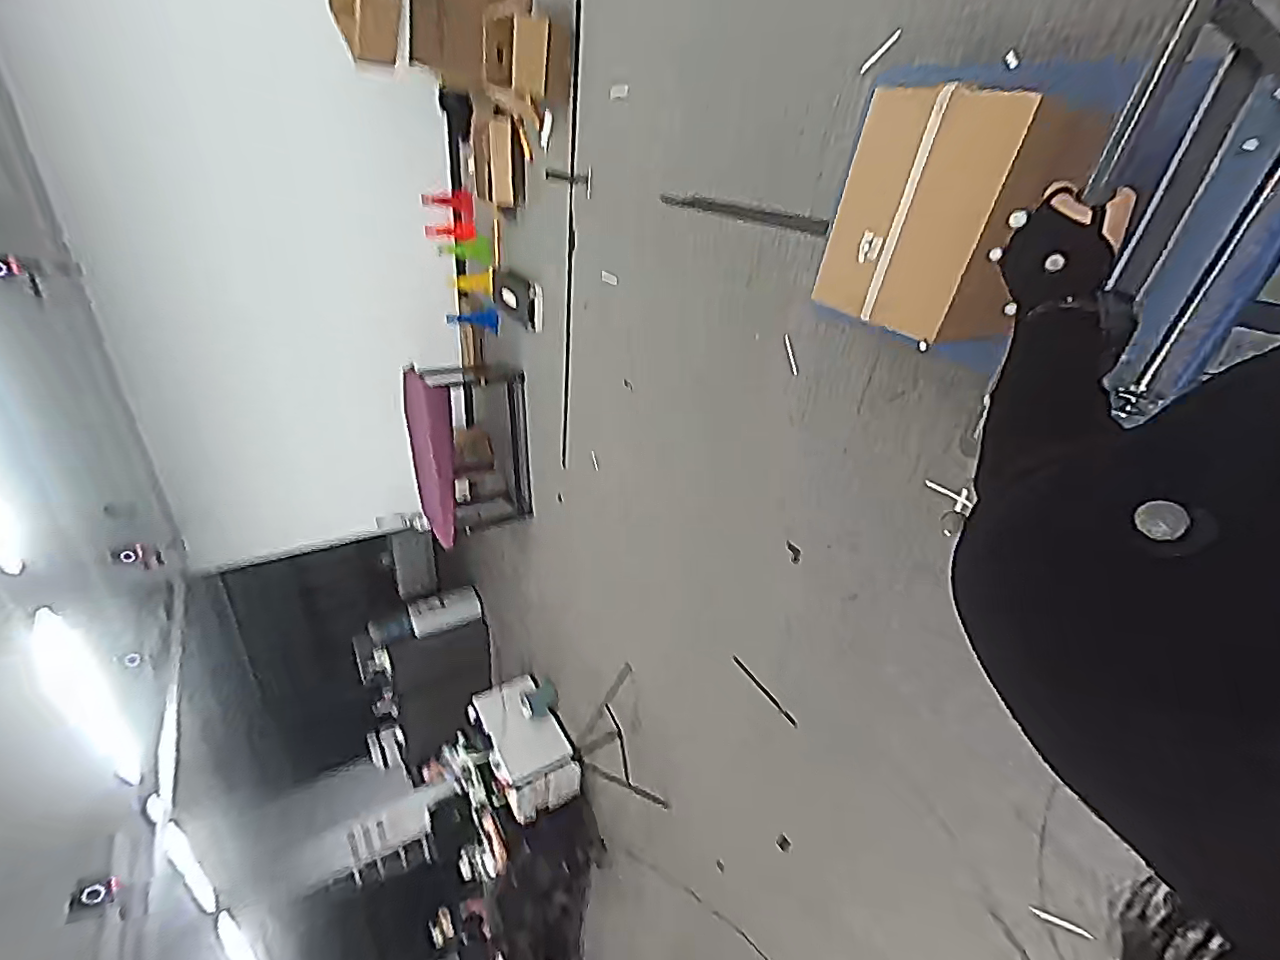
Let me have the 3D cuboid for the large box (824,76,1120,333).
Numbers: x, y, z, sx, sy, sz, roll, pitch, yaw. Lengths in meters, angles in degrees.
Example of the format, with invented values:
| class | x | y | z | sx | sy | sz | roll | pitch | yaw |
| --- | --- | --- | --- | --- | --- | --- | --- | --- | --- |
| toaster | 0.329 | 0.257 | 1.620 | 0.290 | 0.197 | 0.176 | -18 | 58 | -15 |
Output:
| class | x | y | z | sx | sy | sz | roll | pitch | yaw |
| --- | --- | --- | --- | --- | --- | --- | --- | --- | --- |
| large box | 0.647 | -0.556 | 1.102 | 0.320 | 0.320 | 0.408 | 44 | 137 | 42 |
